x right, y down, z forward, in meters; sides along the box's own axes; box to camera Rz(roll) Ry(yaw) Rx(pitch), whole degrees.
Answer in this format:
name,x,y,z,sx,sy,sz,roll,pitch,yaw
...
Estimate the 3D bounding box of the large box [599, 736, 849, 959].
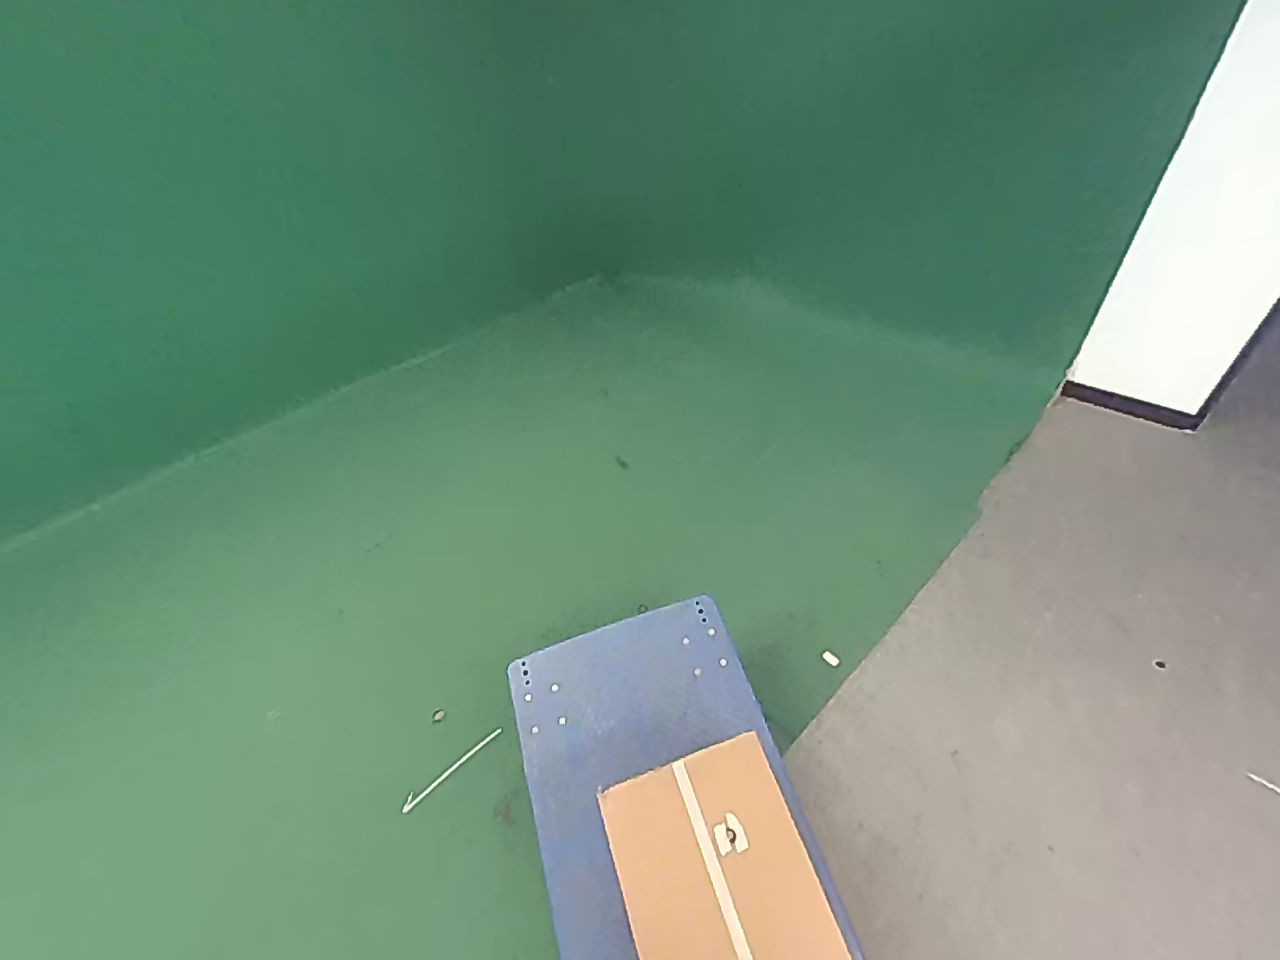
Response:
name,x,y,z,sx,sy,sz,roll,pitch,yaw
large box,0.148,0.764,1.032,0.320,0.320,0.408,-19,59,-6
